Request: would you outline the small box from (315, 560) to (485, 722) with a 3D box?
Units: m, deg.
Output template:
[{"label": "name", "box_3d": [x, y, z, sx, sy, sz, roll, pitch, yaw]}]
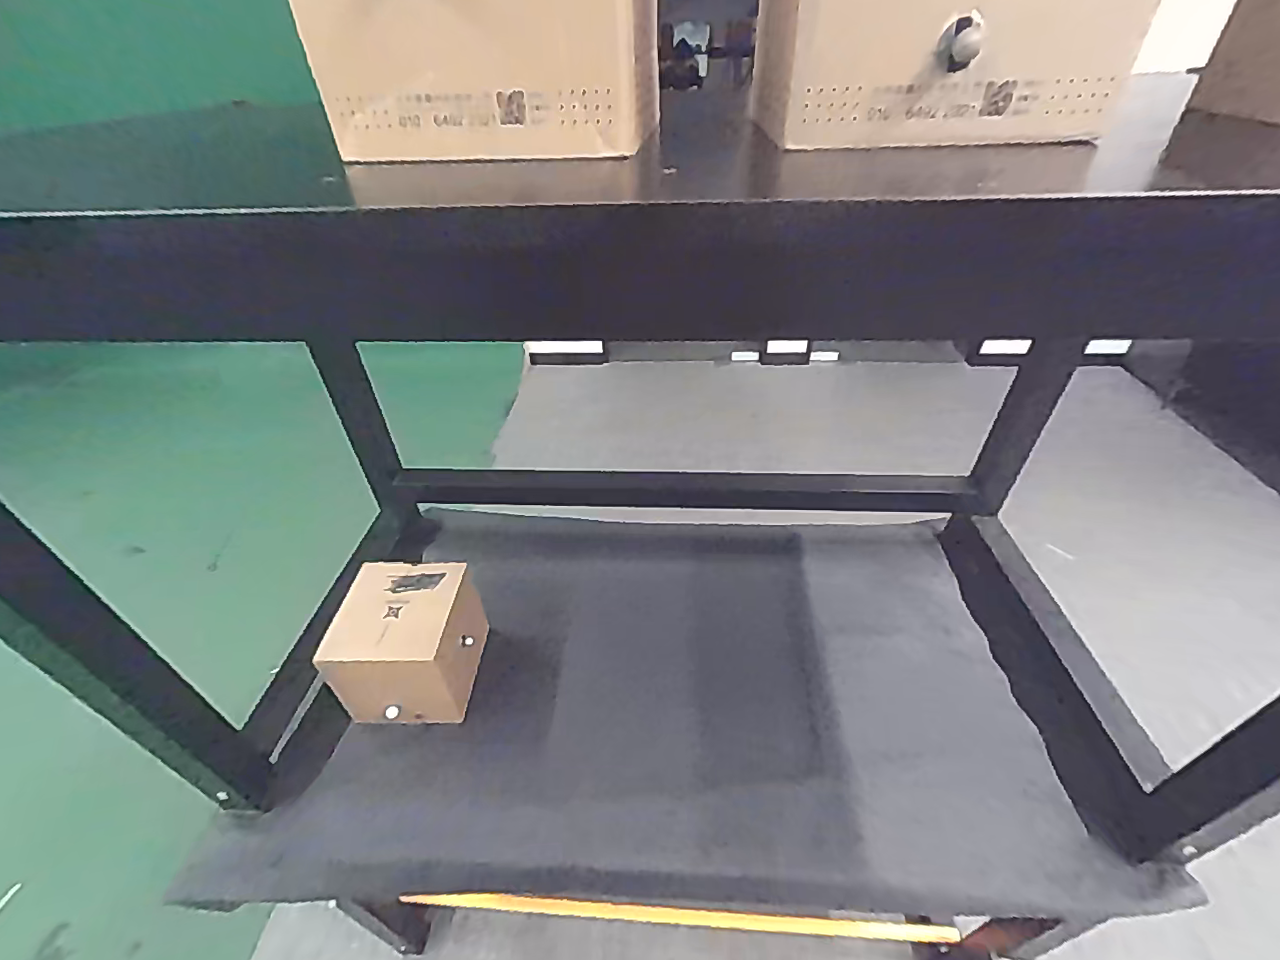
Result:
[{"label": "small box", "box_3d": [-0.347, 0.243, 0.827, 0.168, 0.176, 0.179, -1, 39, 2]}]

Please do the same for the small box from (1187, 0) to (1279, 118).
[{"label": "small box", "box_3d": [0.423, -0.264, 0.241, 0.168, 0.176, 0.179, 7, 39, 12]}]

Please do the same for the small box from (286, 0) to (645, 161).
[{"label": "small box", "box_3d": [-0.088, -0.291, 0.313, 0.168, 0.176, 0.179, 2, 39, 6]}]
